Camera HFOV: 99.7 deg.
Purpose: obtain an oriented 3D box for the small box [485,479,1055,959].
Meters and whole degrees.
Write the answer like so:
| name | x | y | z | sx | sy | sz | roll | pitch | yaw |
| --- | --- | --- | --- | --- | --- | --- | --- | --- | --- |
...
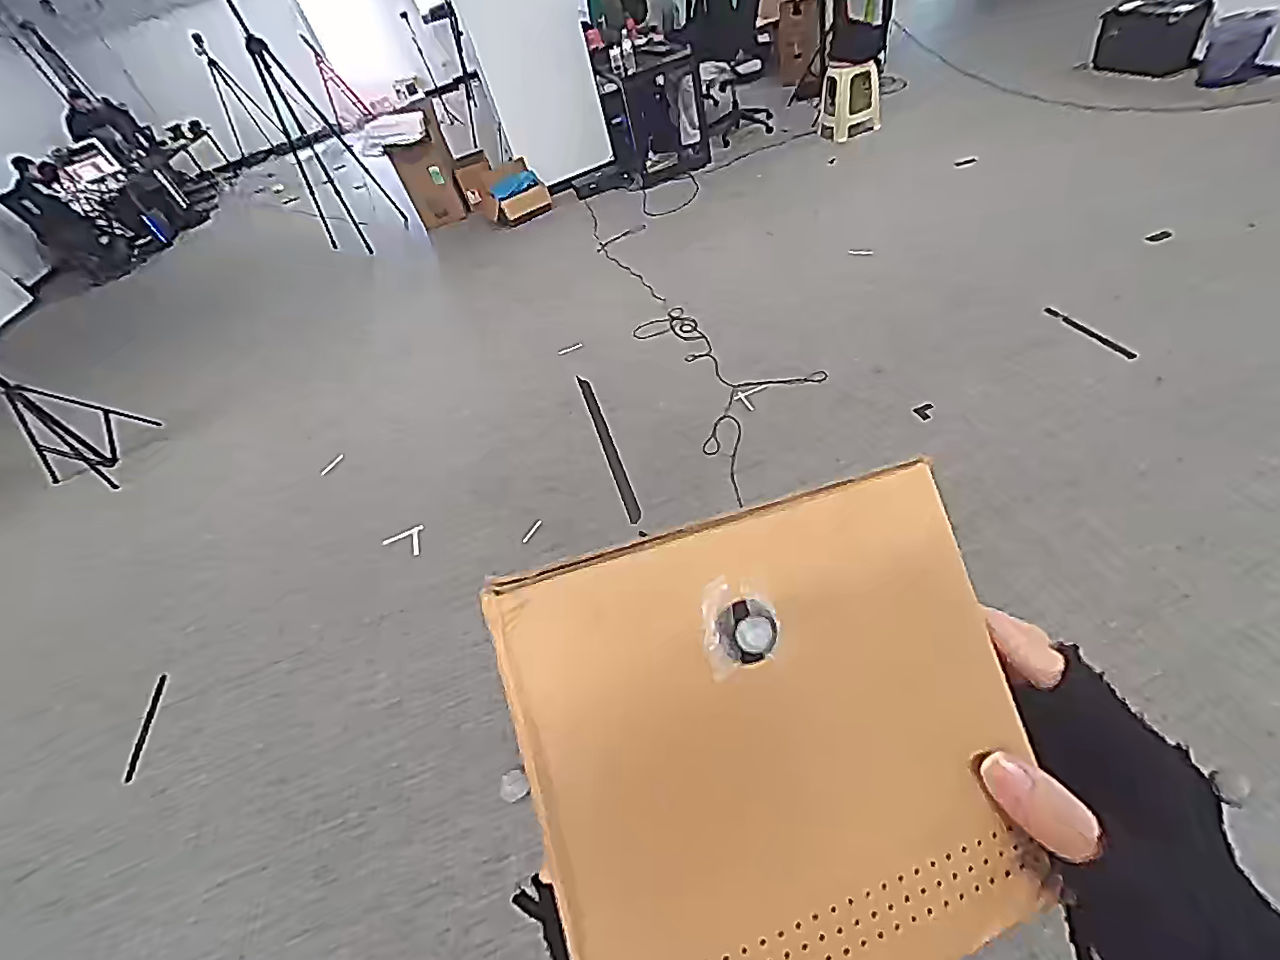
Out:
| name | x | y | z | sx | sy | sz | roll | pitch | yaw |
| --- | --- | --- | --- | --- | --- | --- | --- | --- | --- |
| small box | 0.042 | 0.114 | 0.261 | 0.179 | 0.168 | 0.176 | -15 | 83 | -10 |
